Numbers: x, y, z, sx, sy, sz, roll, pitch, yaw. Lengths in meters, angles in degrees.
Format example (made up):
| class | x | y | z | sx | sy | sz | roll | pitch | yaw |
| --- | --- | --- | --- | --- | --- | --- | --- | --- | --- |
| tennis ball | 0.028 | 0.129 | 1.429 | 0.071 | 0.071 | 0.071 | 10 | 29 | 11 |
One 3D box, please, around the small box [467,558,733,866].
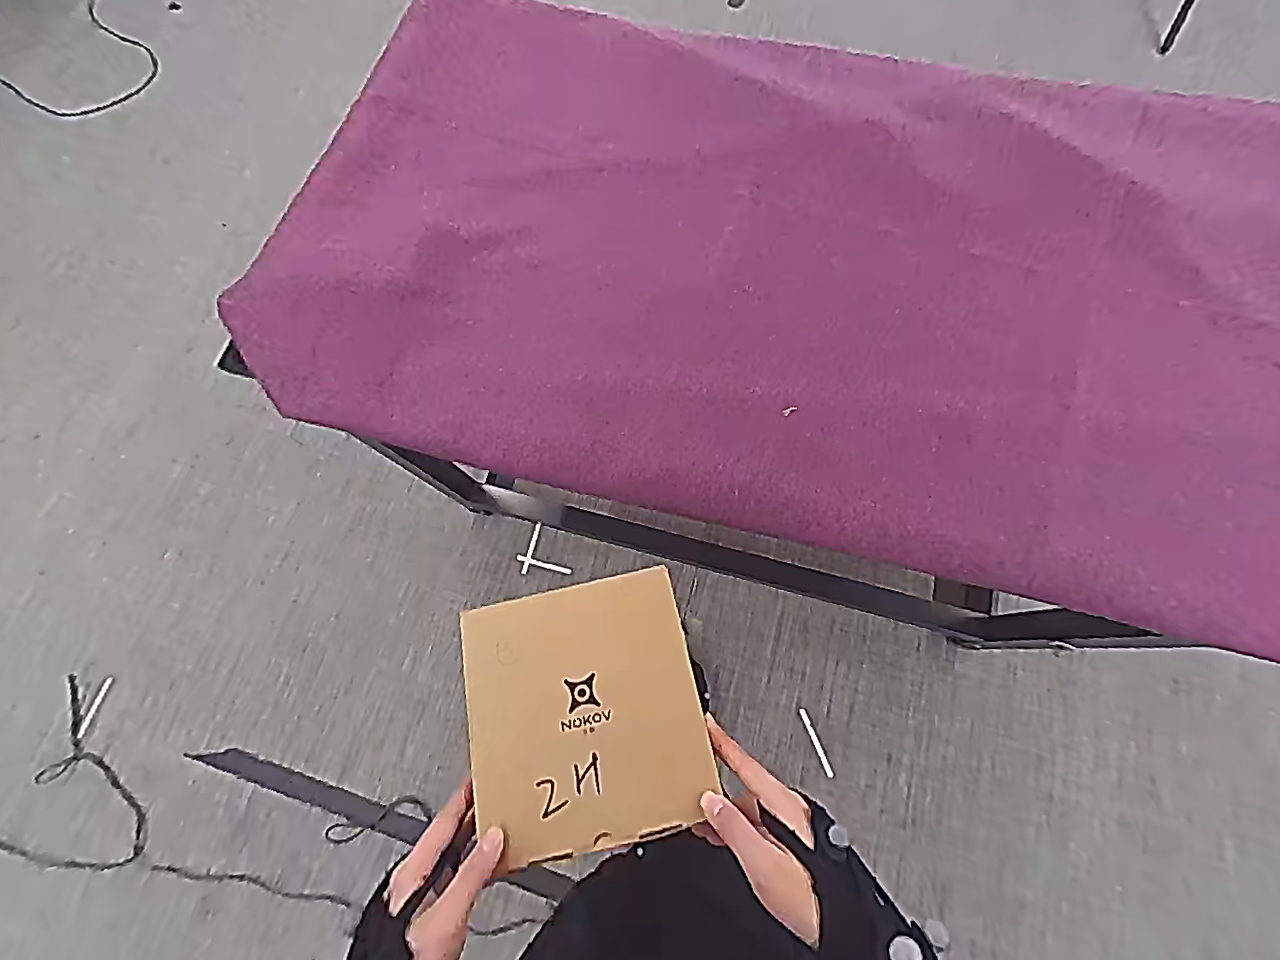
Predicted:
| class | x | y | z | sx | sy | sz | roll | pitch | yaw |
| --- | --- | --- | --- | --- | --- | --- | --- | --- | --- |
| small box | -0.032 | 0.187 | 0.453 | 0.168 | 0.176 | 0.179 | -13 | 65 | -2 |
